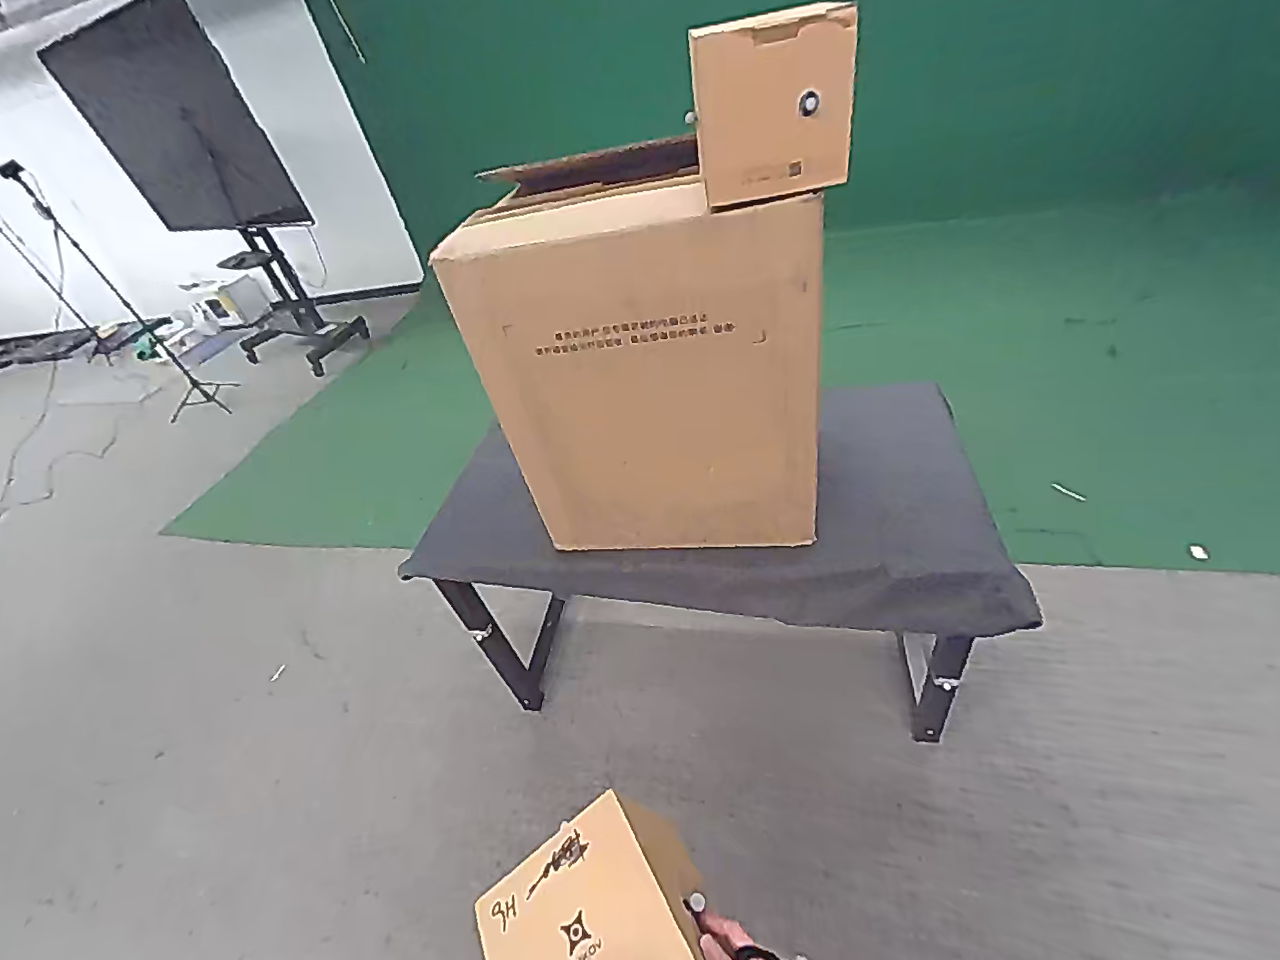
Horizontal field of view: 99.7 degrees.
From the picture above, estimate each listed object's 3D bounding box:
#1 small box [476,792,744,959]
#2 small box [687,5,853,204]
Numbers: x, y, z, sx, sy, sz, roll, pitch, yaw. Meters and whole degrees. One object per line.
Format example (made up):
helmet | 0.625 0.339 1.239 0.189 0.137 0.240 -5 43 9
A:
small box | -0.019 0.441 0.510 0.168 0.176 0.179 -37 43 -7
small box | 0.150 -0.451 0.660 0.168 0.176 0.179 -6 40 7
